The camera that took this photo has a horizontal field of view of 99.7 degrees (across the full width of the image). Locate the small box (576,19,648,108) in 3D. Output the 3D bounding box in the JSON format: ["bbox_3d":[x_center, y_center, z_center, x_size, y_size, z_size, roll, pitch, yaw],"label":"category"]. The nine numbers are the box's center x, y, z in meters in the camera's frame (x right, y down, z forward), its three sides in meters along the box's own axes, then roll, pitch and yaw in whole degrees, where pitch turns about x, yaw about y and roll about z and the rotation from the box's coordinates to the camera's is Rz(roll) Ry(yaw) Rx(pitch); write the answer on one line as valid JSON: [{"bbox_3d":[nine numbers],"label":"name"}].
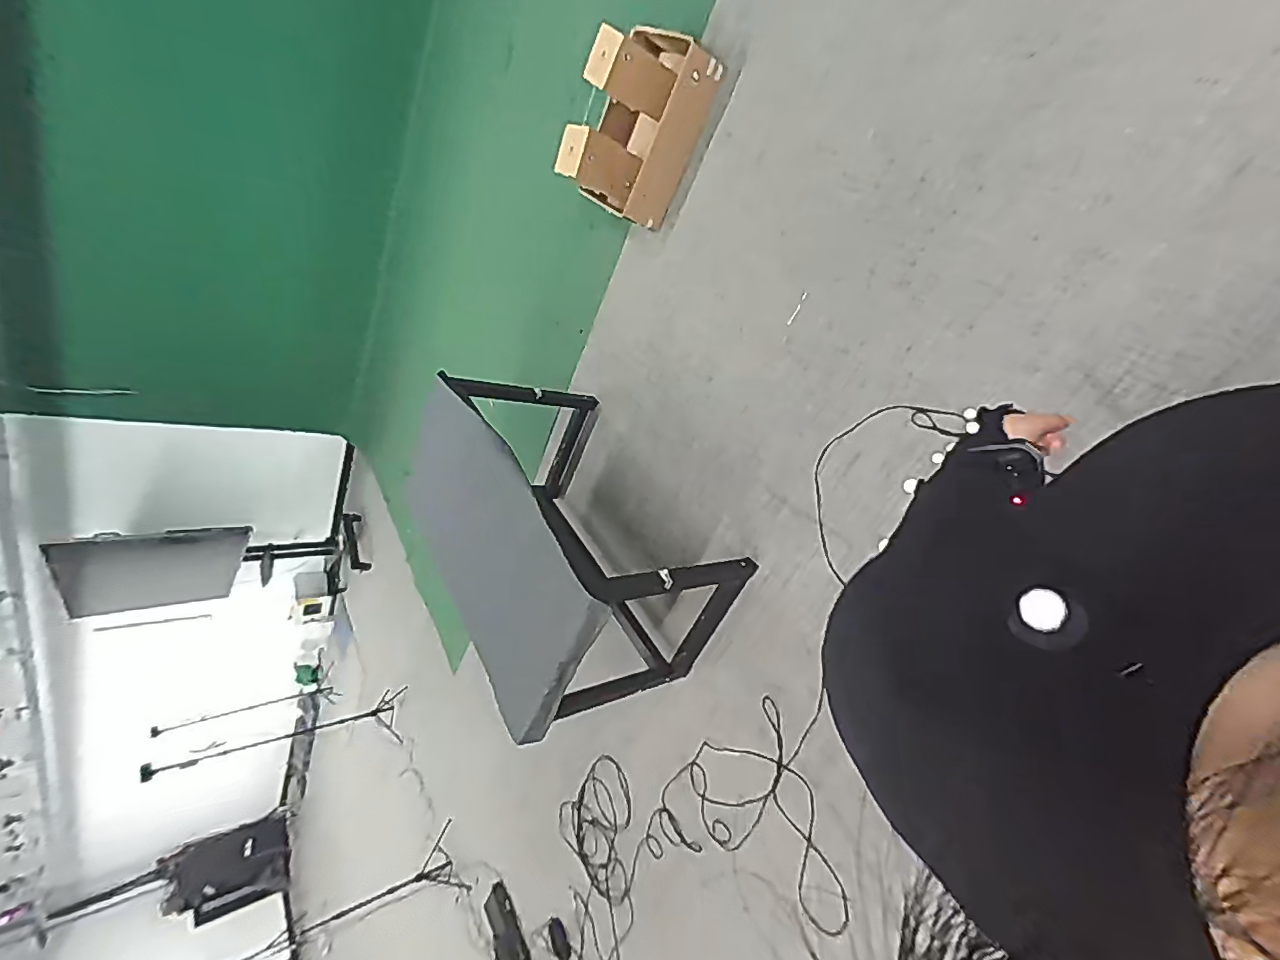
[{"bbox_3d":[-0.094,-1.490,1.941,0.168,0.176,0.179,55,128,31],"label":"small box"}]

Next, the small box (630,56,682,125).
[{"bbox_3d":[0.023,-1.494,2.056,0.179,0.176,0.168,54,127,30],"label":"small box"}]

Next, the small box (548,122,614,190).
[{"bbox_3d":[-0.224,-1.241,2.078,0.168,0.176,0.179,37,114,39],"label":"small box"}]
